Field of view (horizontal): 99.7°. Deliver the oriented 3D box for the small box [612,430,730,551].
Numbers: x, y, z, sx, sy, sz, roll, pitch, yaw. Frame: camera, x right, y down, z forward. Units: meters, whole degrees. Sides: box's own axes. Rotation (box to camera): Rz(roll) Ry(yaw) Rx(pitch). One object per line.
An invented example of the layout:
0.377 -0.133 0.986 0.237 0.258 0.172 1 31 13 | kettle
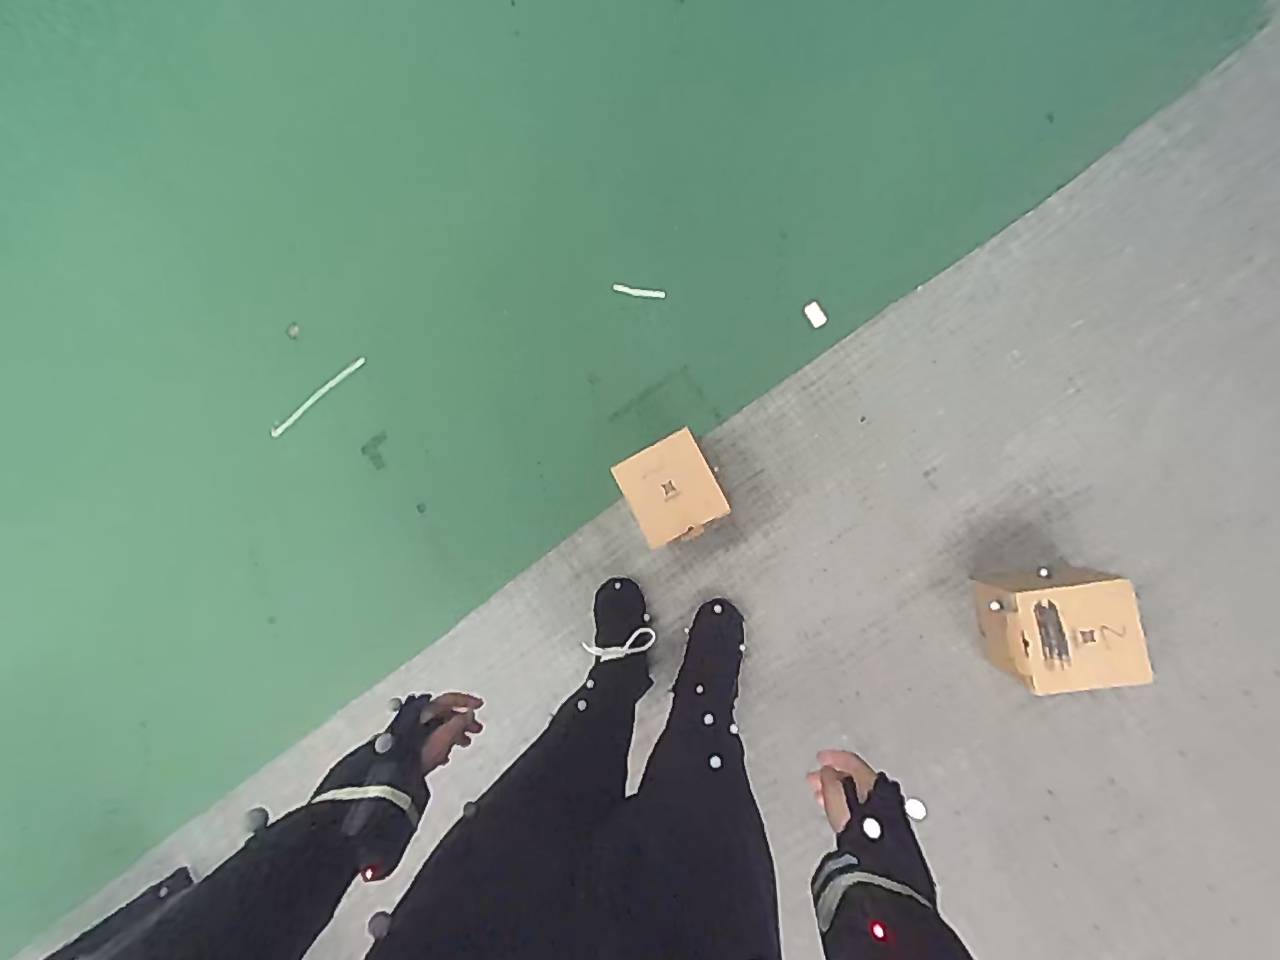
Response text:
0.070 0.020 1.066 0.168 0.176 0.179 -28 83 8 | small box
